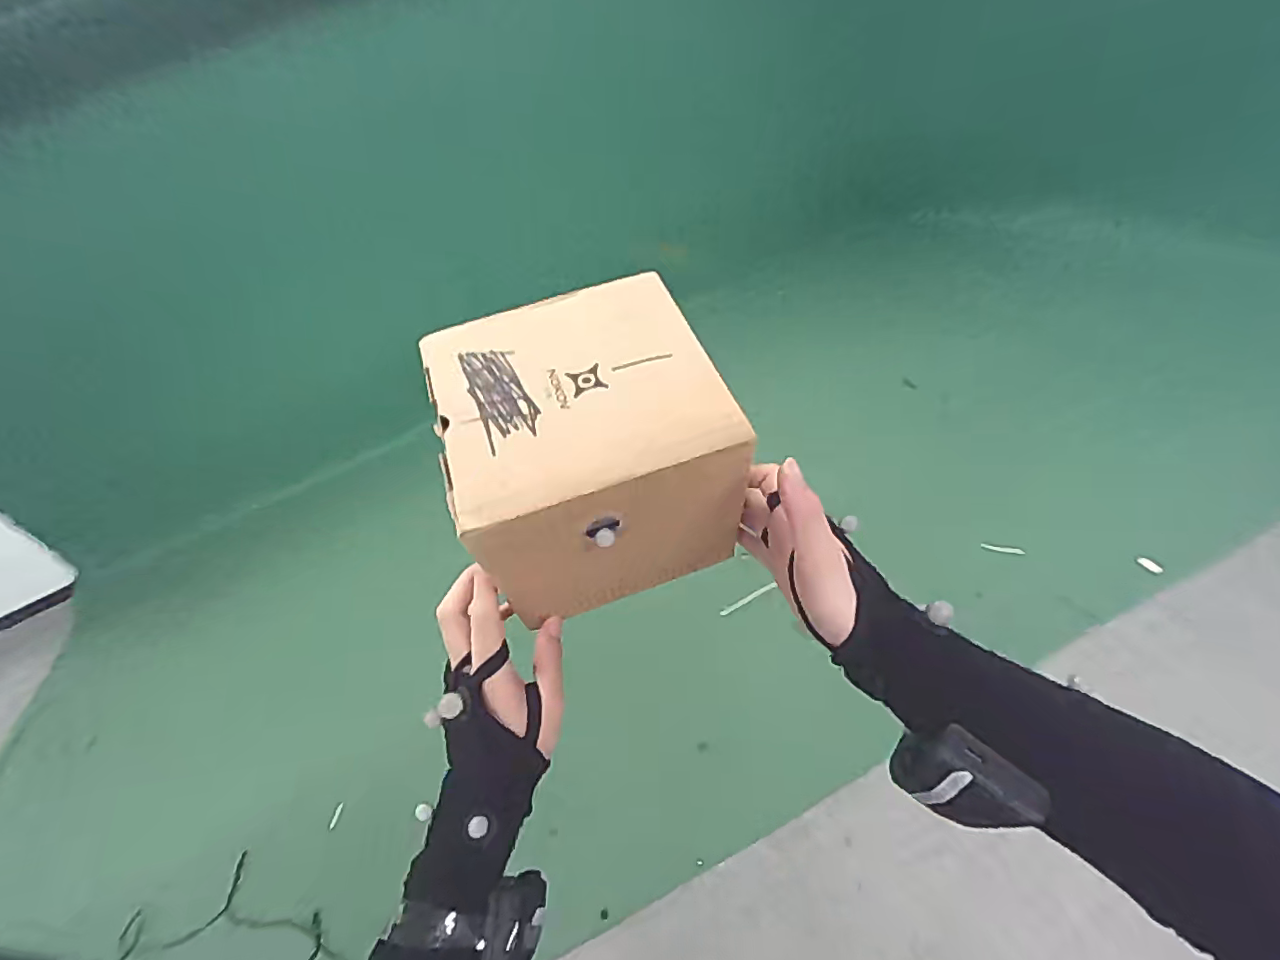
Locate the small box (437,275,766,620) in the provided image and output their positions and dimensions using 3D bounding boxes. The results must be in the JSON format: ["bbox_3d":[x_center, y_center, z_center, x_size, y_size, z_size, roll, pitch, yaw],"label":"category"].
[{"bbox_3d":[-0.028,-0.016,0.405,0.179,0.176,0.168,-18,58,-8],"label":"small box"}]
